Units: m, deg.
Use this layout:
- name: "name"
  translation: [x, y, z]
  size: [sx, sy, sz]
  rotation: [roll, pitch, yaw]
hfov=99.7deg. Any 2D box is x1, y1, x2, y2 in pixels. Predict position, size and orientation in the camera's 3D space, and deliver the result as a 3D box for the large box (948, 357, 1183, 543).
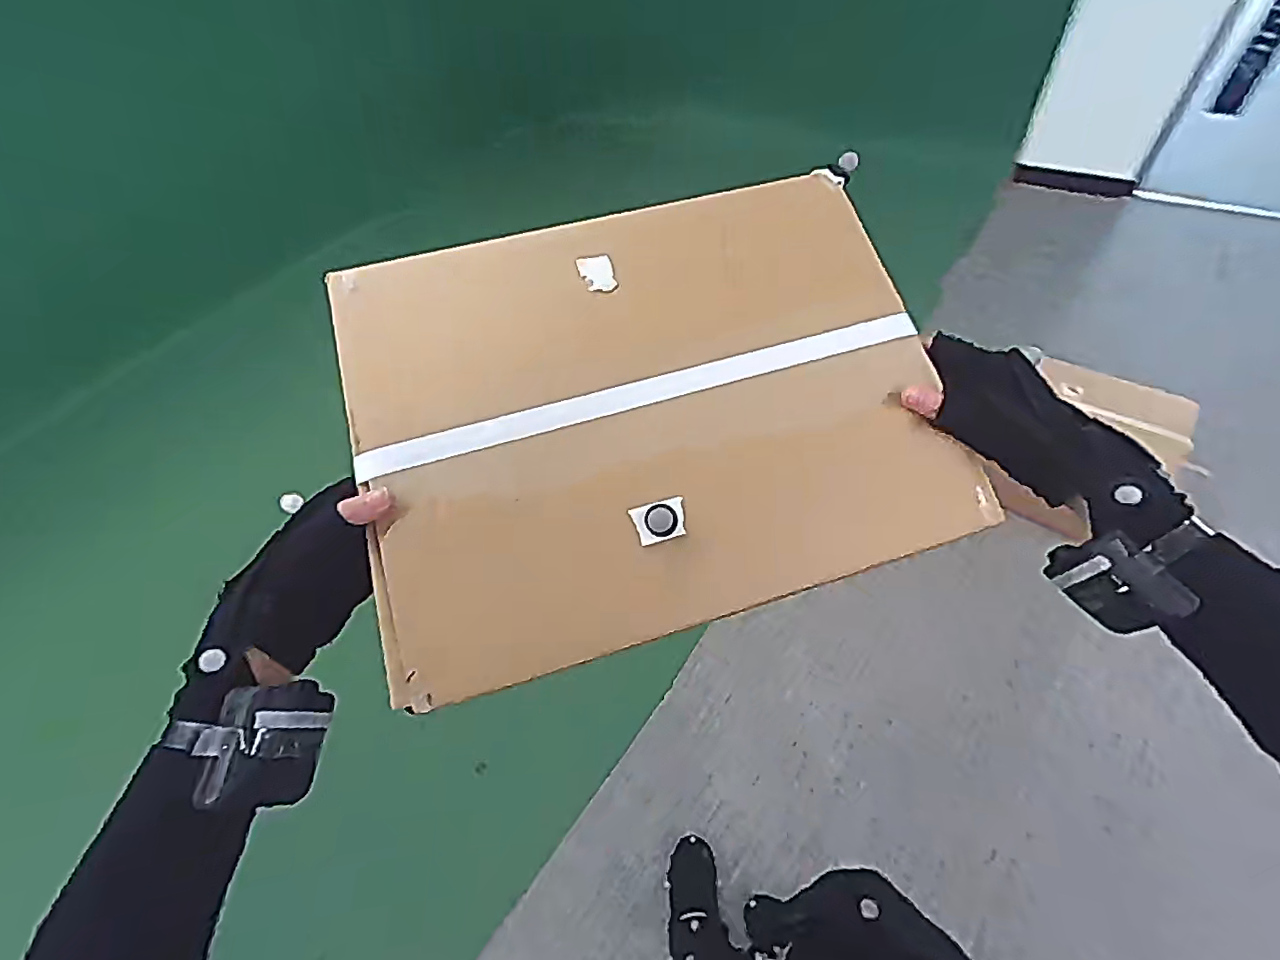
- name: "large box"
  translation: [1.183, -0.087, 1.543]
  size: [0.408, 0.320, 0.320]
  rotation: [29, 63, 28]
